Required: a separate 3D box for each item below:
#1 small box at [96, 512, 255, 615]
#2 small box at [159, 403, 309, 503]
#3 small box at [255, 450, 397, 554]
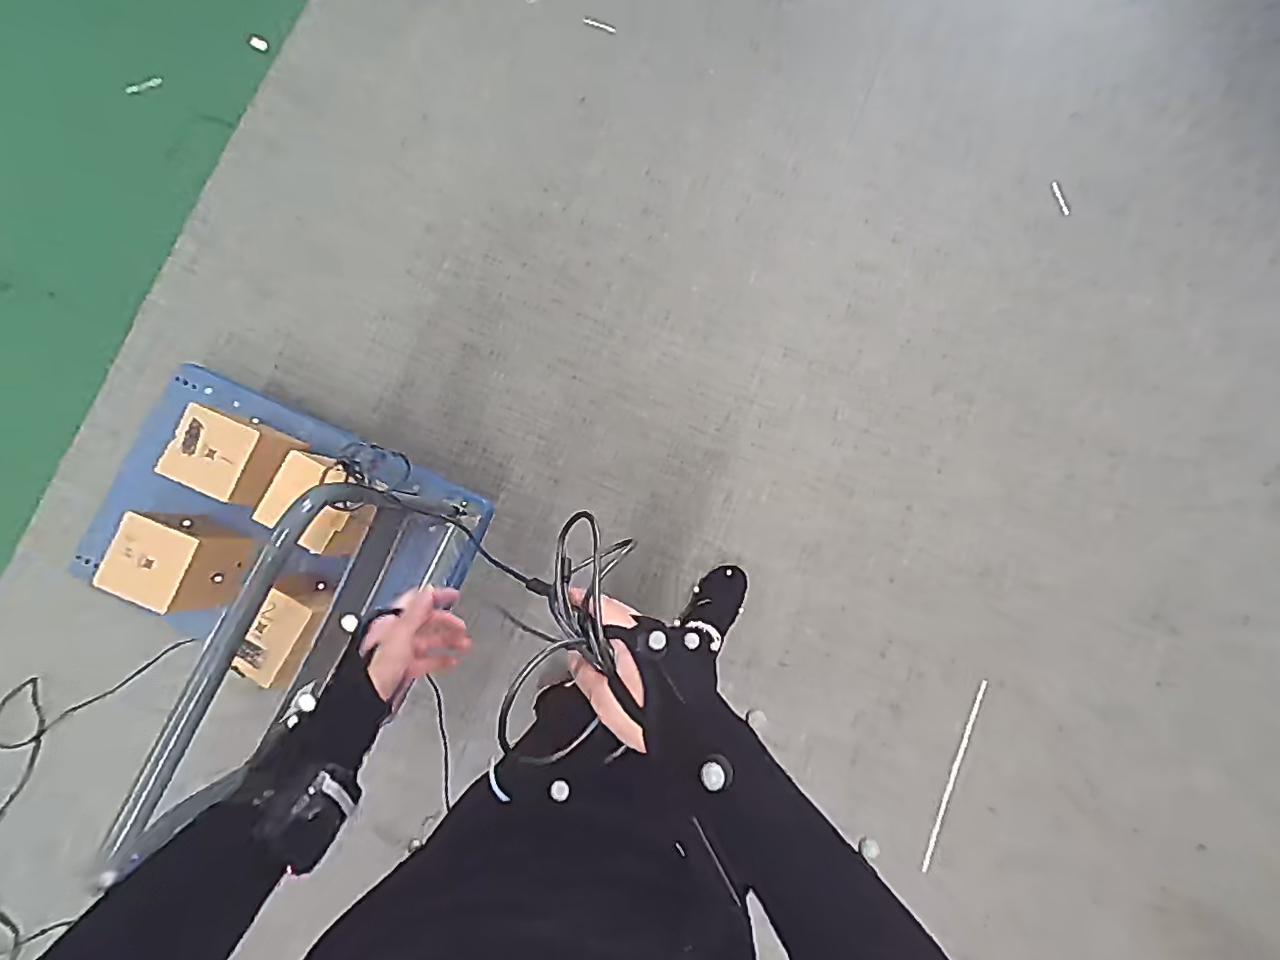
[{"bbox_3d":[-1.013,0.180,1.199,0.179,0.176,0.168,21,84,4],"label":"small box"},{"bbox_3d":[-0.904,-0.050,1.220,0.179,0.176,0.168,23,86,3],"label":"small box"},{"bbox_3d":[-0.687,0.055,1.204,0.179,0.176,0.168,26,85,4],"label":"small box"}]
